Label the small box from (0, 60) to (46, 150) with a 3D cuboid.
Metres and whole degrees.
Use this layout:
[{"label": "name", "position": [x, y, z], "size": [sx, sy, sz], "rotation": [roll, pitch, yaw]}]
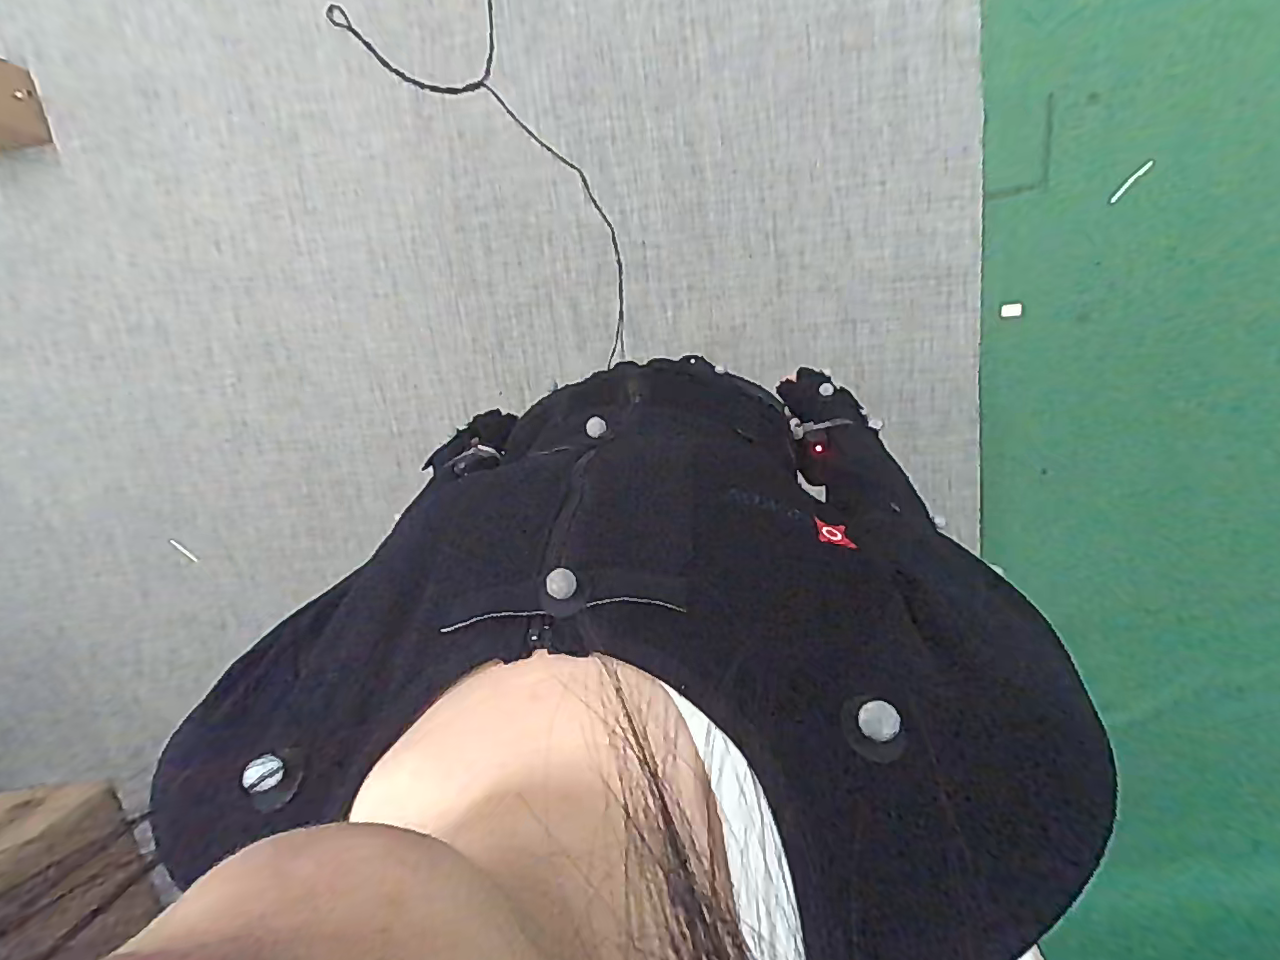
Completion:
[{"label": "small box", "position": [-1.601, -0.909, 1.283], "size": [0.179, 0.176, 0.168], "rotation": [-8, 103, 5]}]
